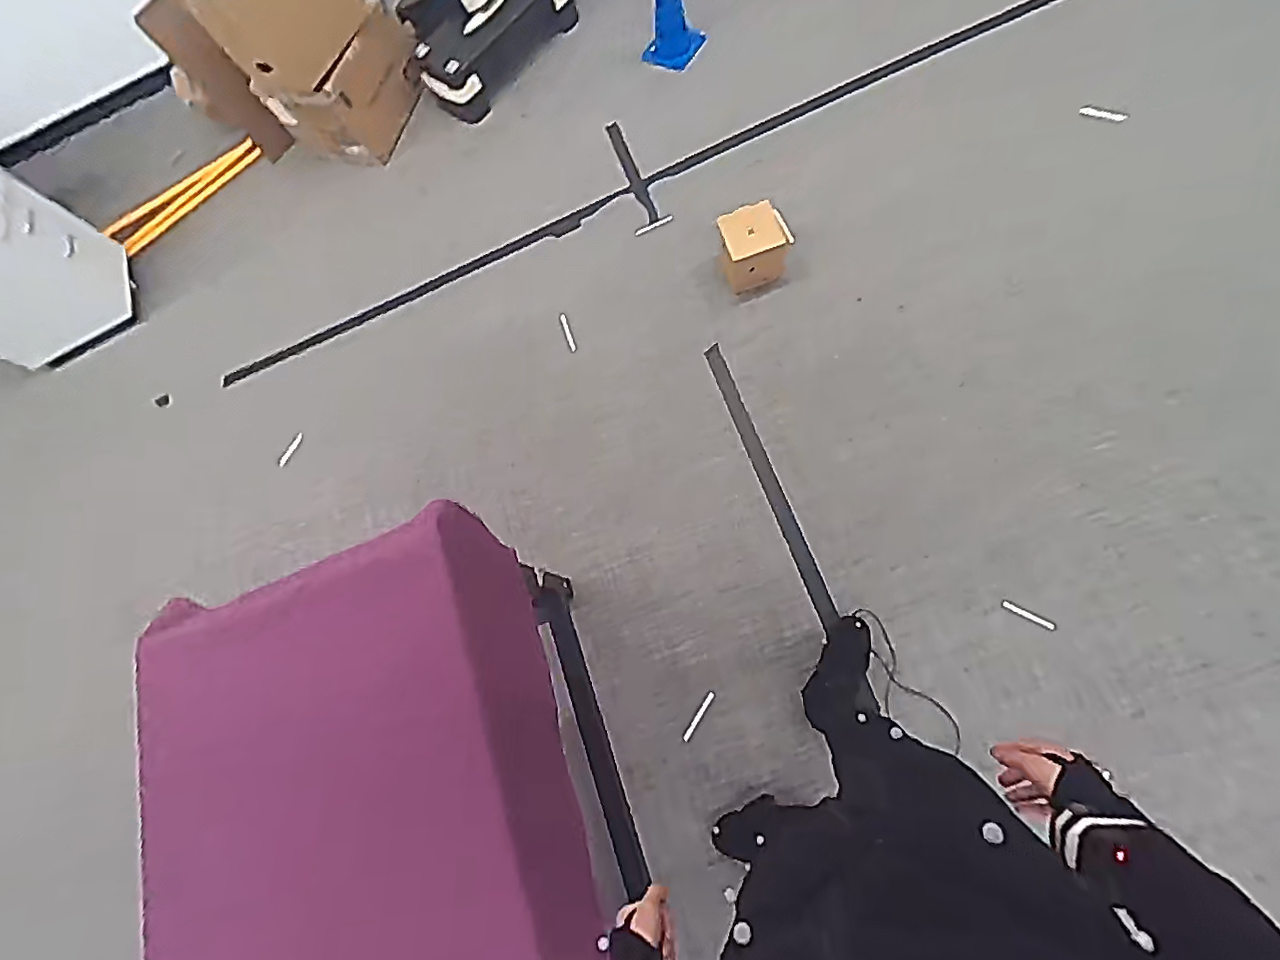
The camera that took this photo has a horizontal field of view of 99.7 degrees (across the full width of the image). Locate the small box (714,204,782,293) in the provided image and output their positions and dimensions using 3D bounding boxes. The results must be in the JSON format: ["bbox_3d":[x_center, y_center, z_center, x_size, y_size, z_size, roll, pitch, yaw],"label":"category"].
[{"bbox_3d":[0.341,-0.720,1.706,0.168,0.176,0.179,-18,70,6],"label":"small box"}]
